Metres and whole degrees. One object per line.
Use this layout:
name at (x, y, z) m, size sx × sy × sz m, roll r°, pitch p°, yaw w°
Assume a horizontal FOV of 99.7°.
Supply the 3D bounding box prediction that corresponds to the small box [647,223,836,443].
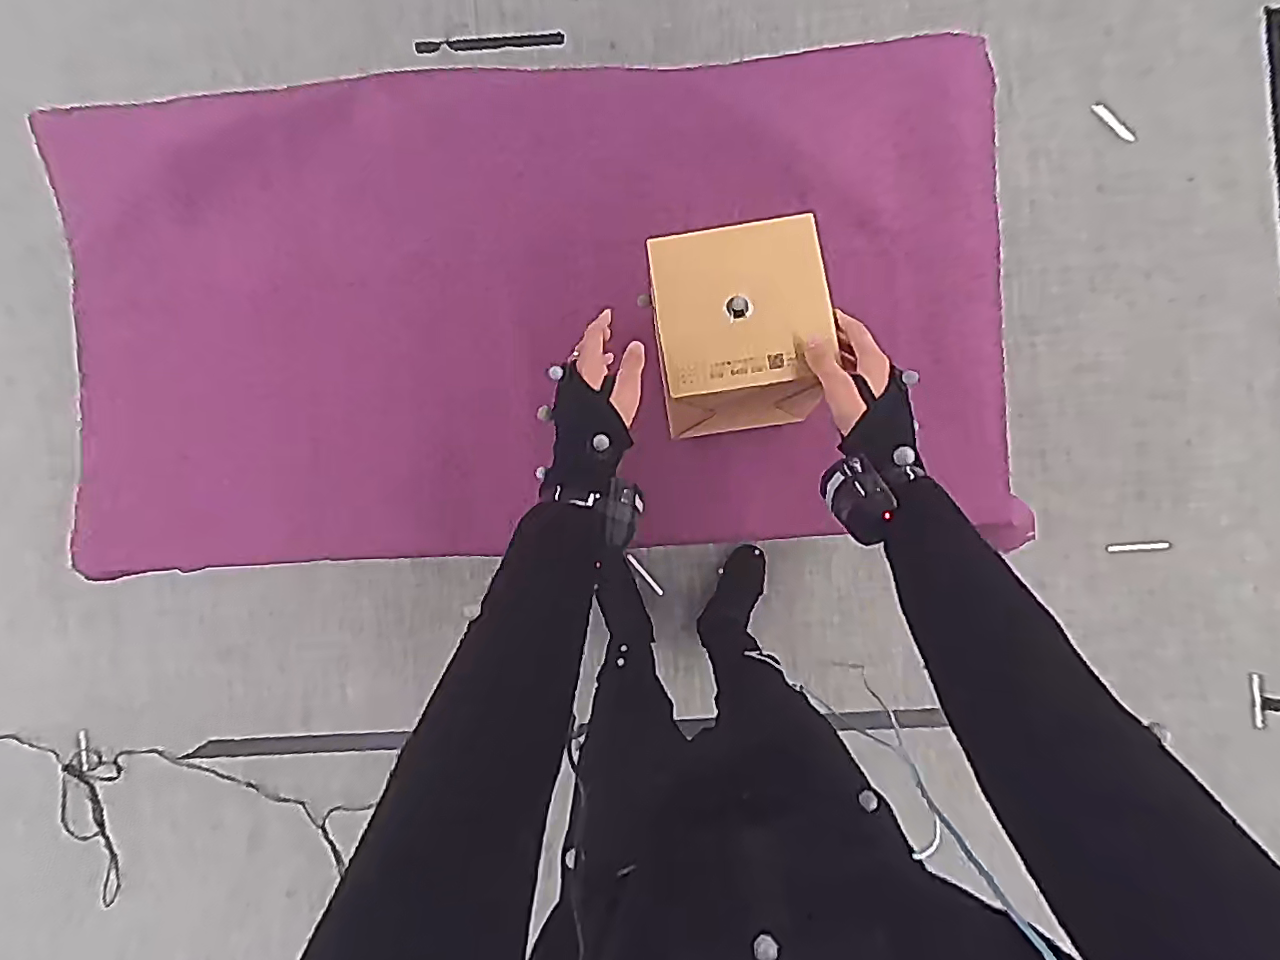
small box at (0.105, -0.148, 0.604) m, size 0.168 × 0.179 × 0.176 m, roll -8°, pitch 81°, yaw 3°
